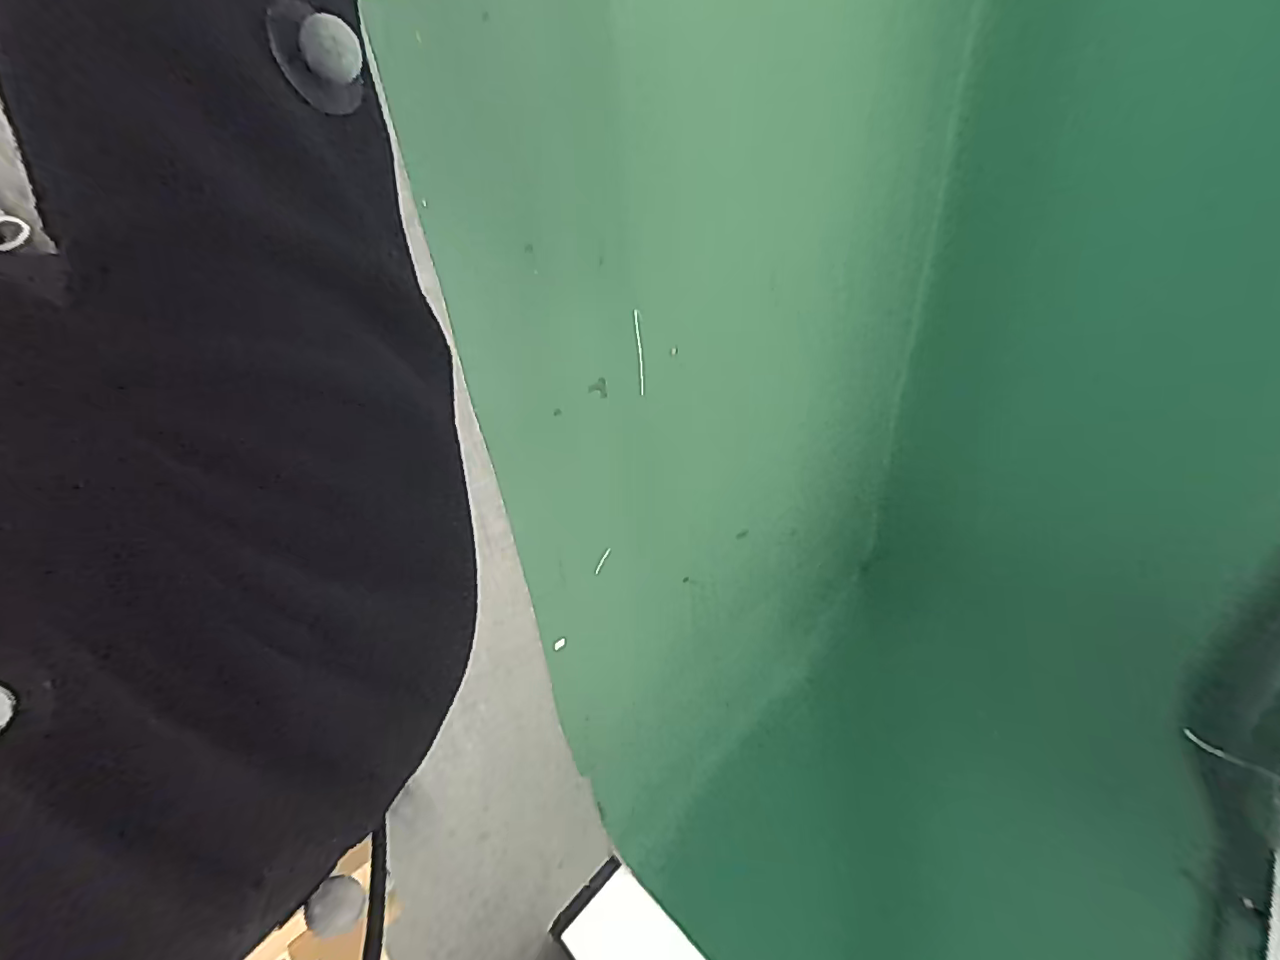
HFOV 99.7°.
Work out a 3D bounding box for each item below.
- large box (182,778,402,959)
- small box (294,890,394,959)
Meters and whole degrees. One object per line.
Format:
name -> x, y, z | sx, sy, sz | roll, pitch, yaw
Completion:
large box -> -0.950, 1.148, 1.504 | 0.408, 0.320, 0.320 | -25, 127, -37
small box -> -0.751, 1.211, 1.373 | 0.179, 0.176, 0.168 | -26, 129, -39
